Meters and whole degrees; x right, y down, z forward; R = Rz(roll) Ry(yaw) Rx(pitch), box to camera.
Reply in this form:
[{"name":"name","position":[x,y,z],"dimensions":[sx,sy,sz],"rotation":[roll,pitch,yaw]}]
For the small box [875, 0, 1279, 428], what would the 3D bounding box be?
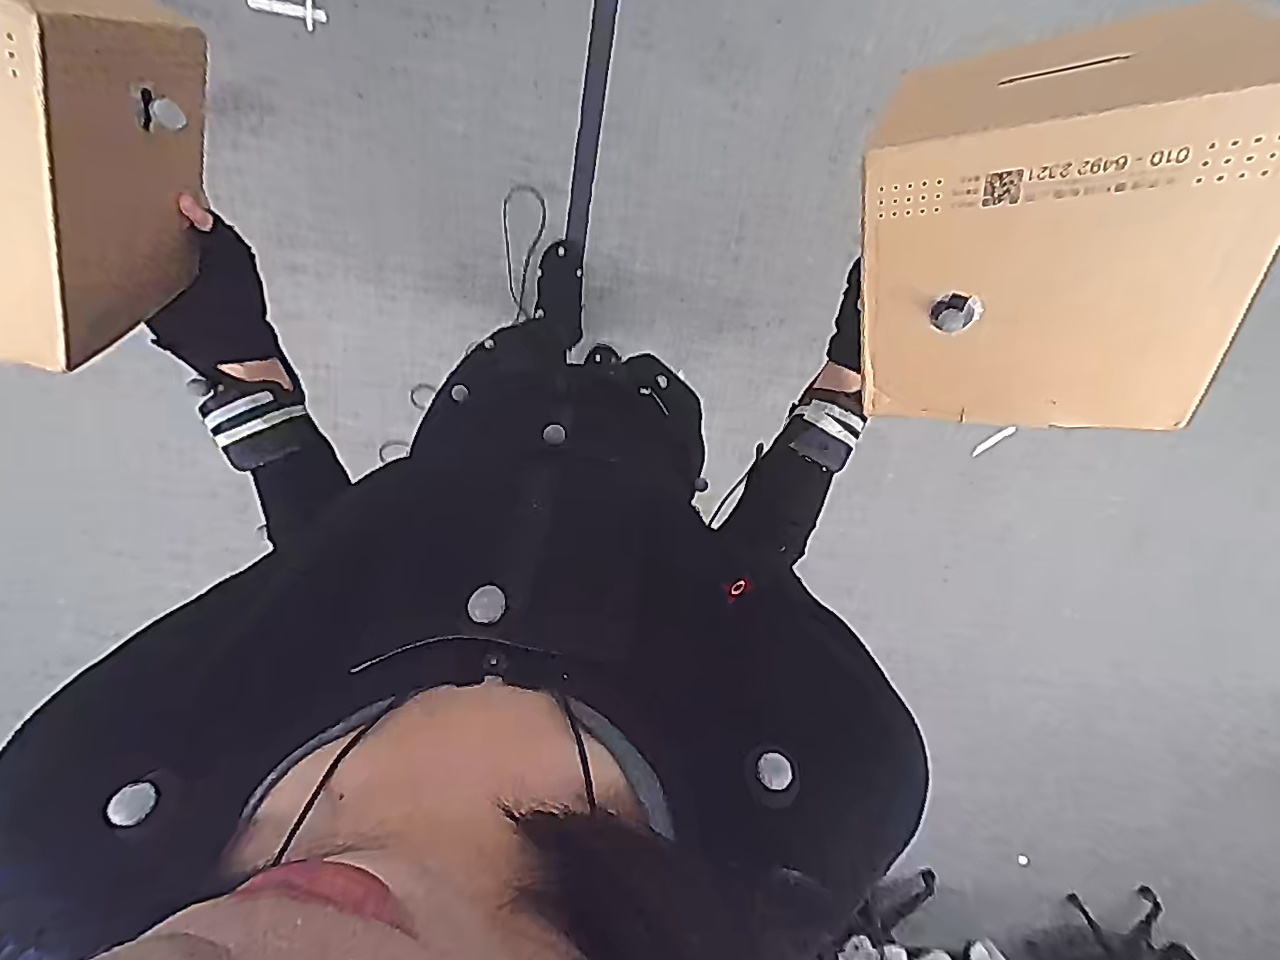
[{"name":"small box","position":[0.236,-0.152,0.314],"dimensions":[0.168,0.179,0.176],"rotation":[8,137,27]}]
